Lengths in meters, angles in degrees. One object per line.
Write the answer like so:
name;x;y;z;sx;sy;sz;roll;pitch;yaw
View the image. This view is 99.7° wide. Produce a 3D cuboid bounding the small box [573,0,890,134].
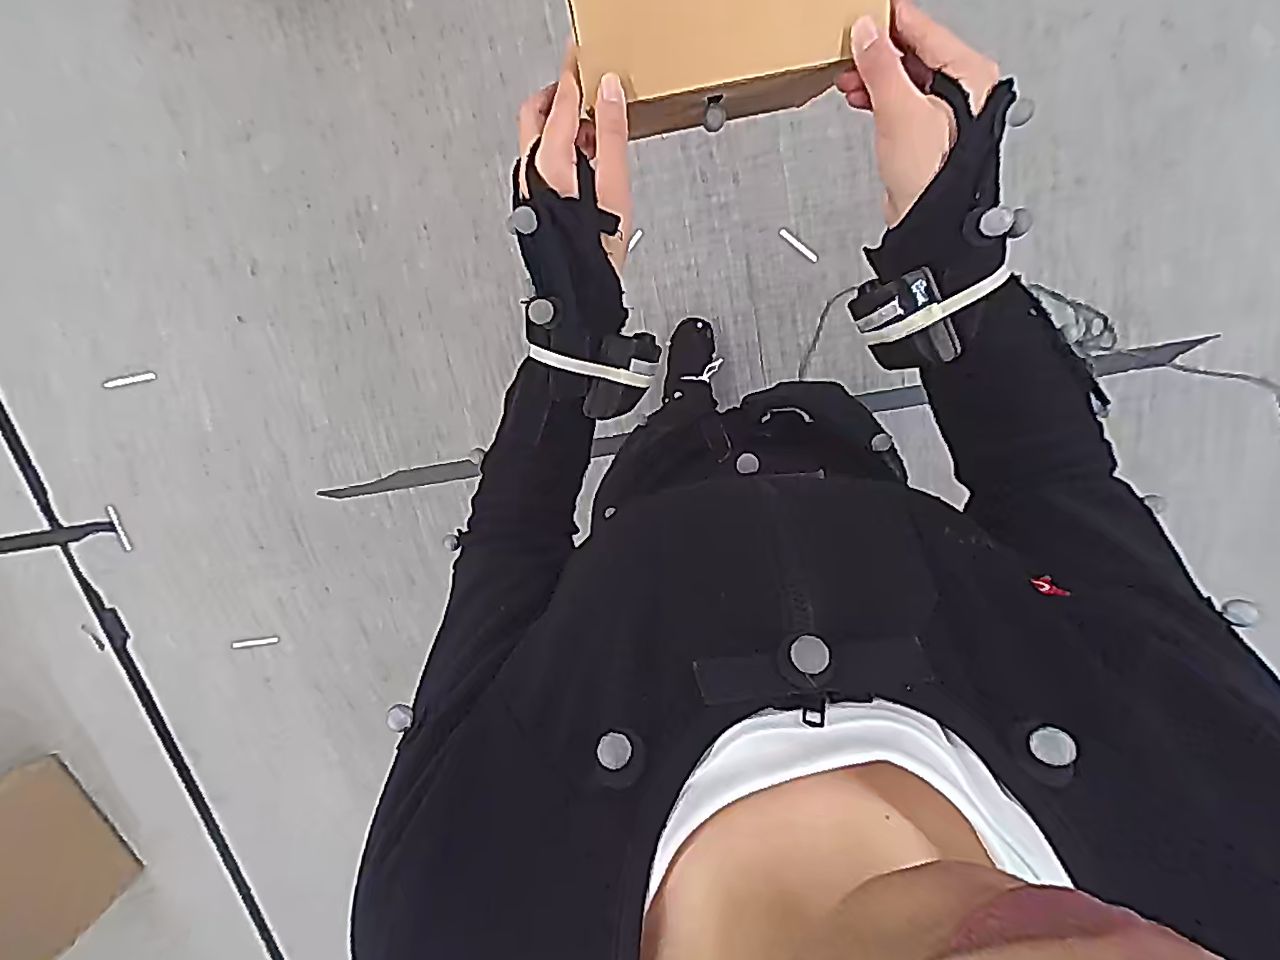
small box;0.043;-0.341;0.349;0.179;0.176;0.168;-8;116;5
